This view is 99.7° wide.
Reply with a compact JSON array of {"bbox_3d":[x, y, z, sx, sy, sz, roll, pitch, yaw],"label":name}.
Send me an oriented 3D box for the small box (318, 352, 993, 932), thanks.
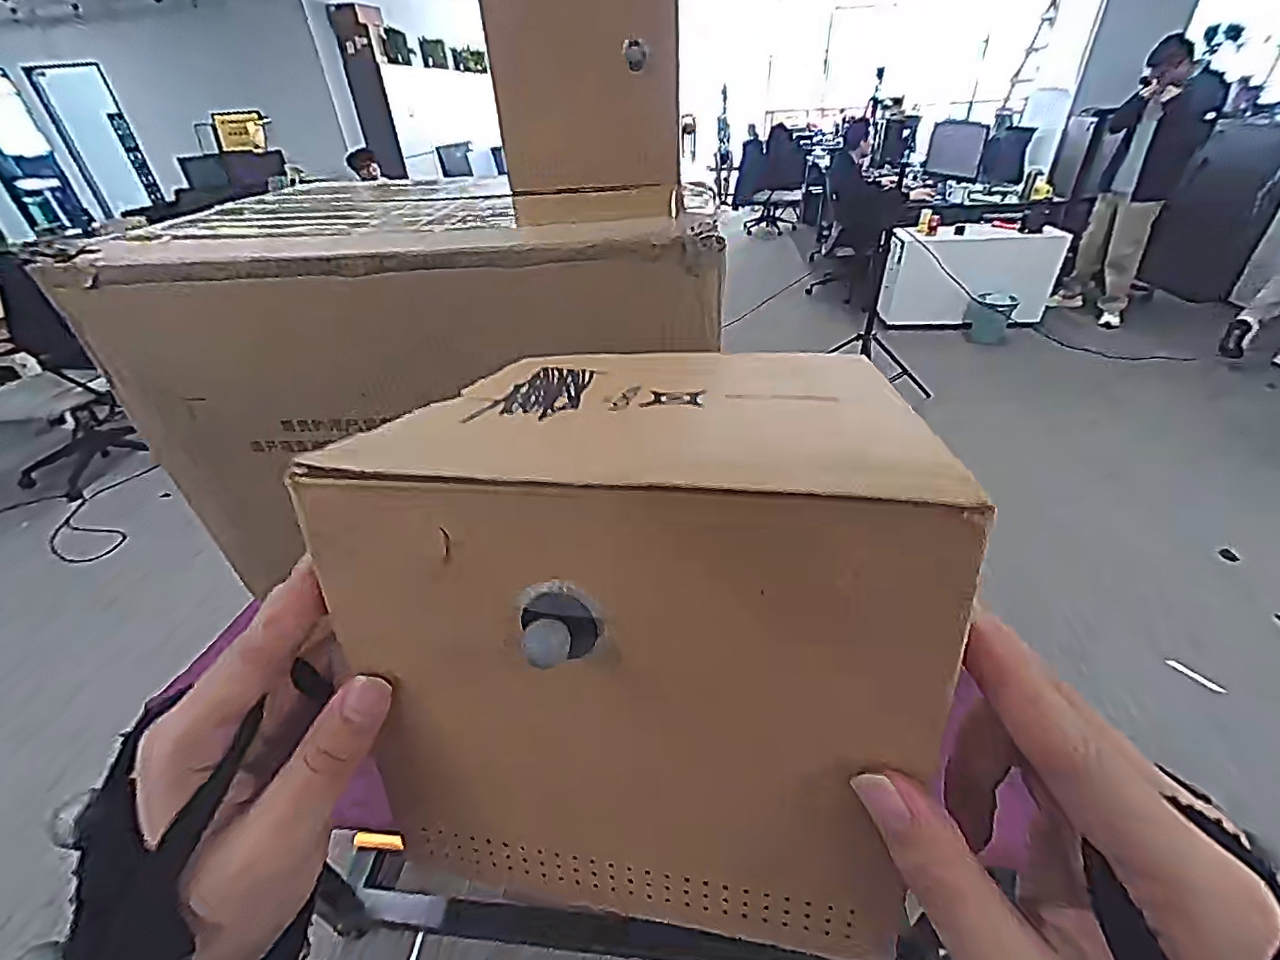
[{"bbox_3d":[0.013,0.044,0.233,0.179,0.176,0.168,2,23,12],"label":"small box"}]
